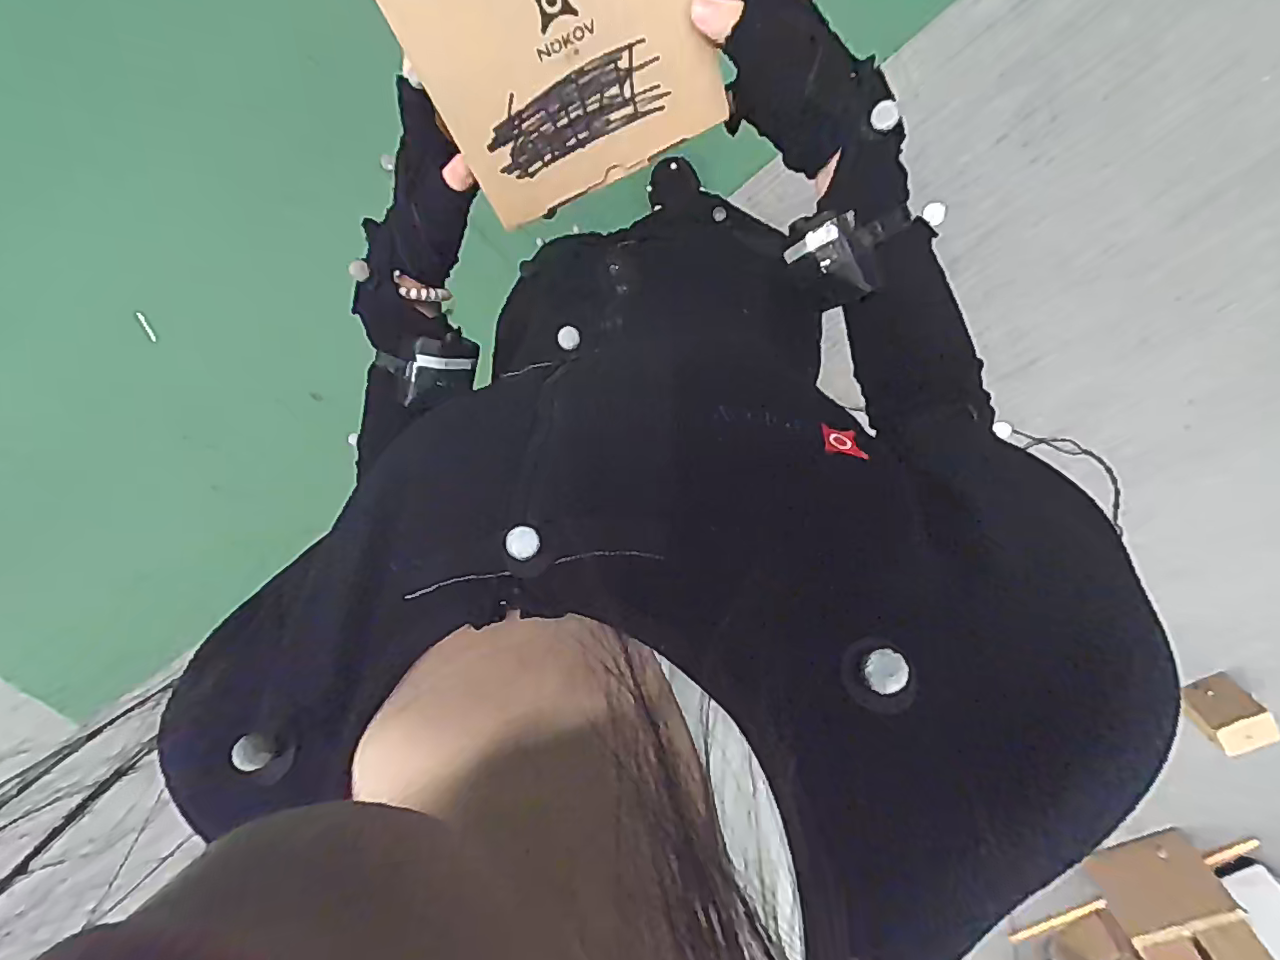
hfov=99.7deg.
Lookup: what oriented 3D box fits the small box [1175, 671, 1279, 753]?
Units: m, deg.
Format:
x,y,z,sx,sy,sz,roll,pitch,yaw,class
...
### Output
x,y,z,sx,sy,sz,roll,pitch,yaw,class
2.026,0.801,1.872,0.168,0.176,0.179,-36,112,19,small box
